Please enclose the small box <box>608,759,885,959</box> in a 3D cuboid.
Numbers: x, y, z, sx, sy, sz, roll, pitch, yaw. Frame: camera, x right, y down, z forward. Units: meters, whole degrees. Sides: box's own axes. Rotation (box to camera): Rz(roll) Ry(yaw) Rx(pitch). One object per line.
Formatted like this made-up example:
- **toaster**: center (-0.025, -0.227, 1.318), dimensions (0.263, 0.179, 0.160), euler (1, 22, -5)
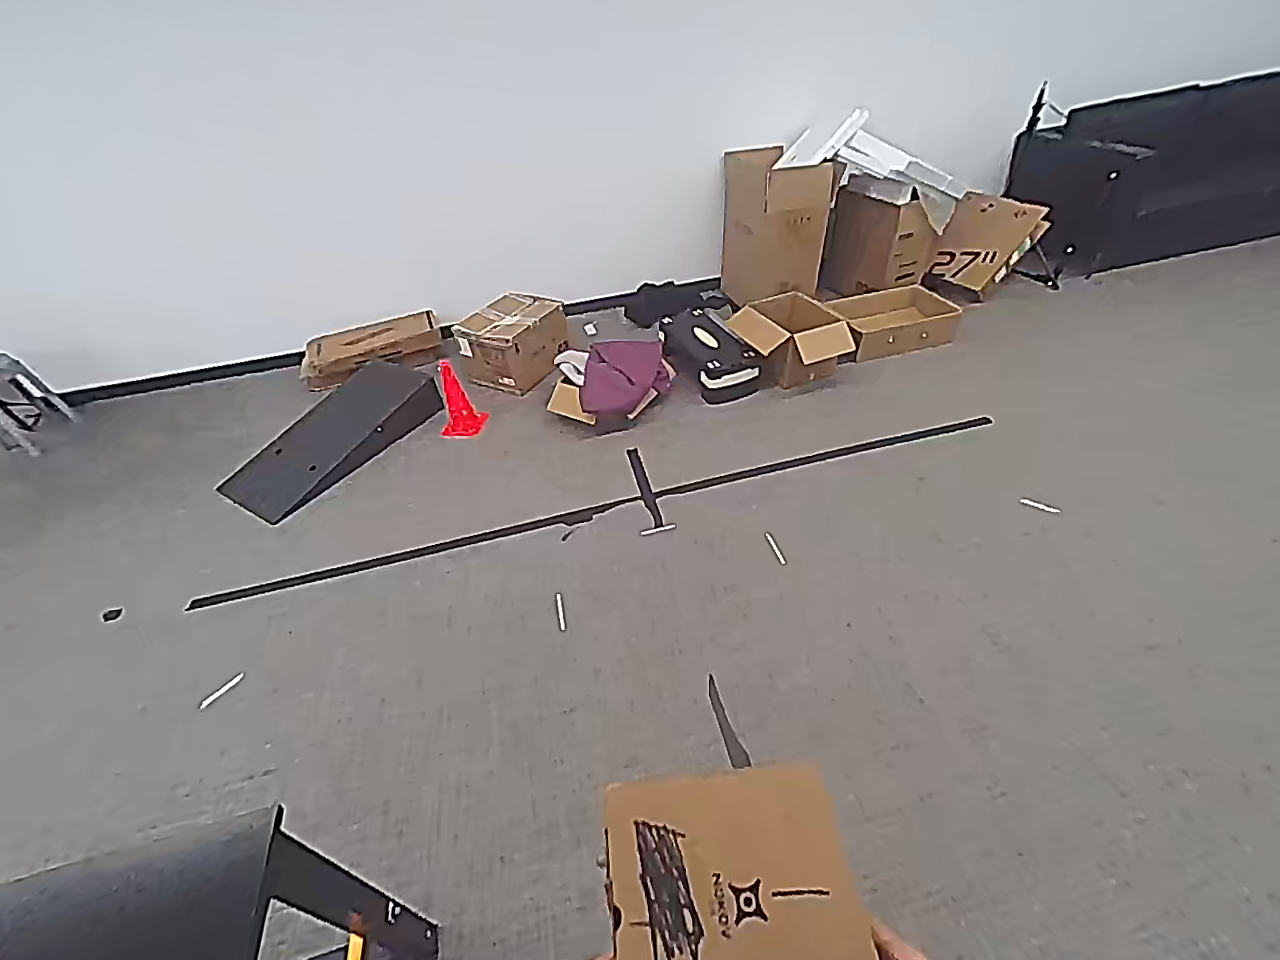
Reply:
- **small box**: center (0.070, 0.341, 0.431), dimensions (0.179, 0.176, 0.168), euler (-4, 49, -4)
